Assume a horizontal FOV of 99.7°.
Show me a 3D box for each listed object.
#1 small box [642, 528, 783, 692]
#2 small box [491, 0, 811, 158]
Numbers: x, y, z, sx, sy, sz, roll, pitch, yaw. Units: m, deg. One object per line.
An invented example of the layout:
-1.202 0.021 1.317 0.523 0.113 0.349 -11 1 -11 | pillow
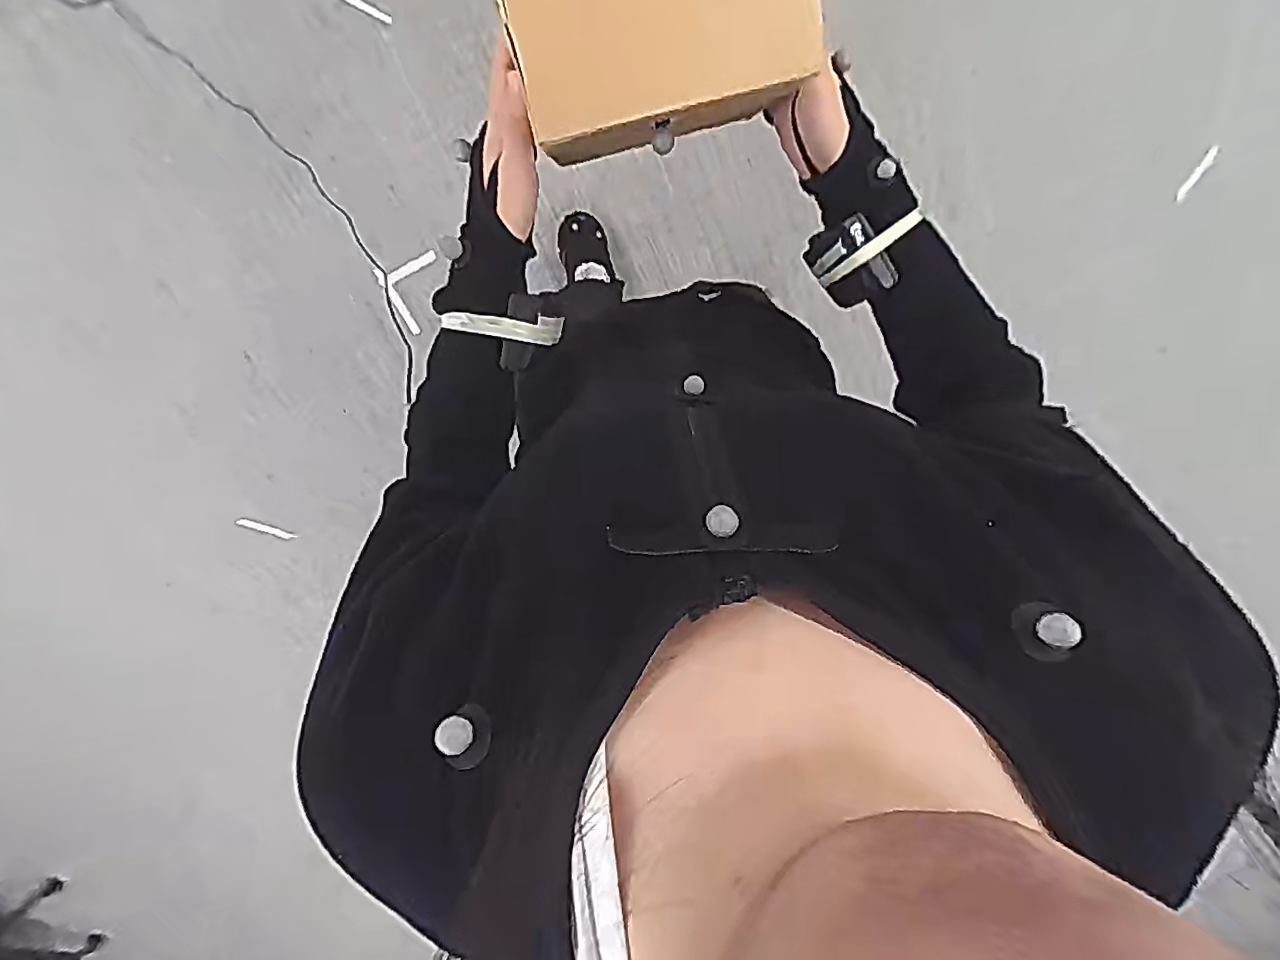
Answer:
0.109 0.203 0.876 0.179 0.176 0.168 -19 111 5 | small box
-0.003 -0.329 0.358 0.179 0.176 0.168 -12 117 4 | small box
